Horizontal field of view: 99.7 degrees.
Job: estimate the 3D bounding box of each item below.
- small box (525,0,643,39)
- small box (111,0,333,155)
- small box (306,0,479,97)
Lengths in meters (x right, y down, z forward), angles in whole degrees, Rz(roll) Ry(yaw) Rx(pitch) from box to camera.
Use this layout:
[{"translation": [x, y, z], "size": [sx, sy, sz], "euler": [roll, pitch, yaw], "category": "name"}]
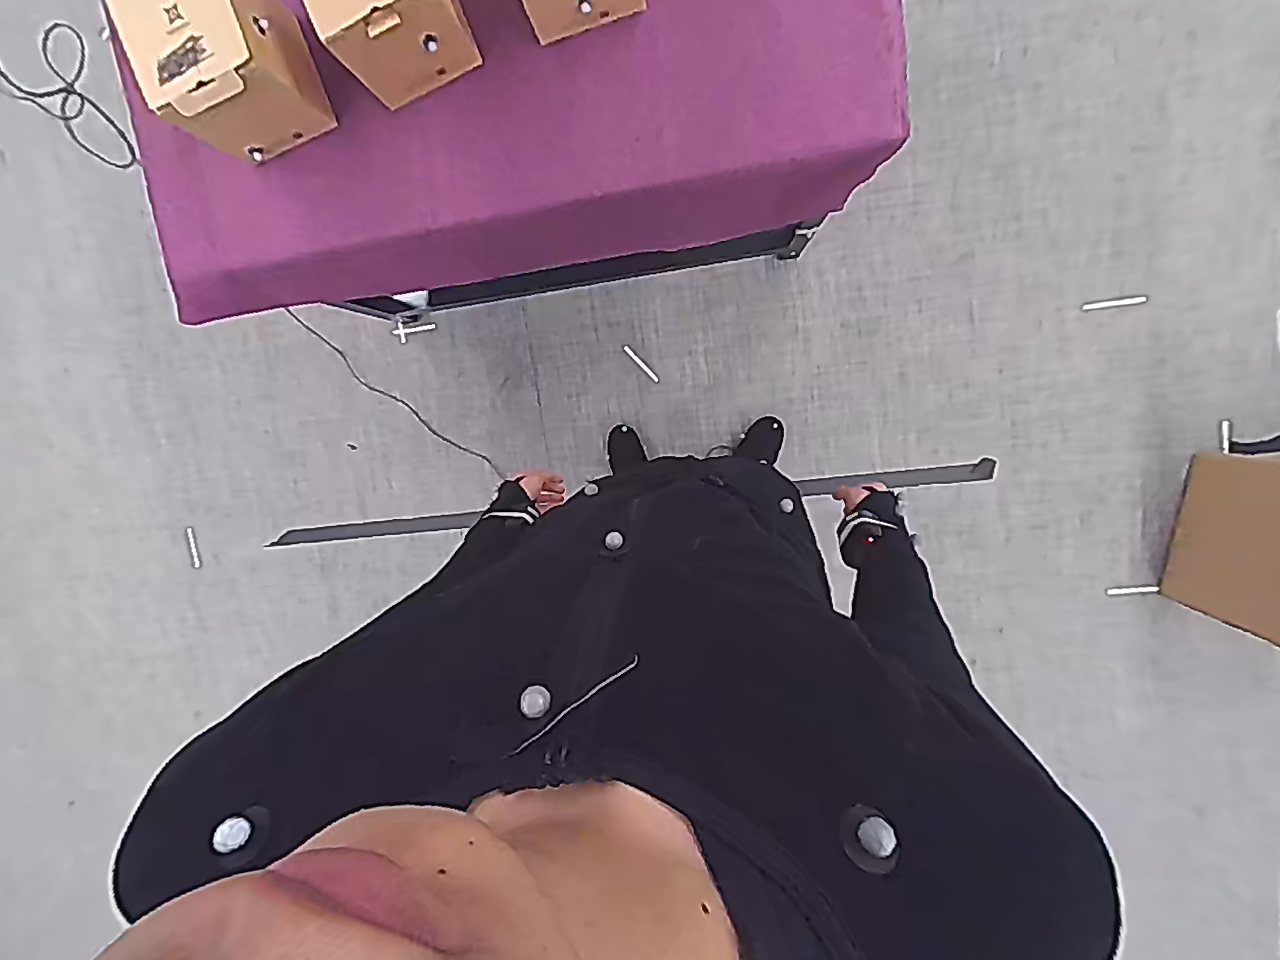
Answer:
[{"translation": [-0.098, -0.746, 0.713], "size": [0.168, 0.176, 0.179], "euler": [-12, 97, 8], "category": "small box"}, {"translation": [-0.591, -0.609, 0.786], "size": [0.168, 0.176, 0.179], "euler": [-19, 95, 8], "category": "small box"}, {"translation": [-0.352, -0.679, 0.752], "size": [0.168, 0.176, 0.179], "euler": [-20, 95, 8], "category": "small box"}]
